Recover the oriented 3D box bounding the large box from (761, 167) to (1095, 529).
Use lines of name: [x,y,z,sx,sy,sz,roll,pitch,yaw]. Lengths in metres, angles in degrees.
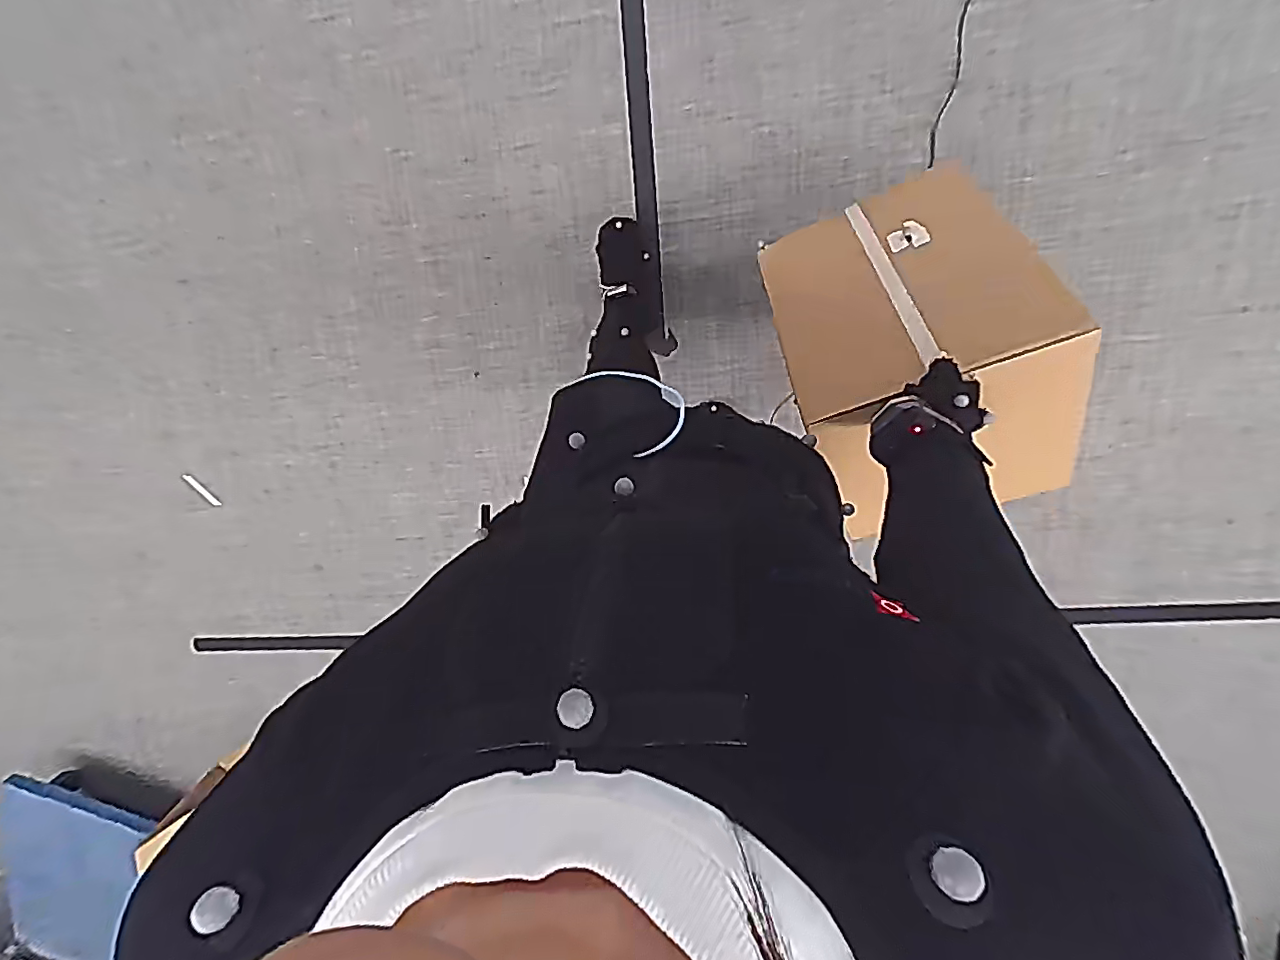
large box: [0.415,-0.194,0.853,0.320,0.408,0.320,-17,140,19]
